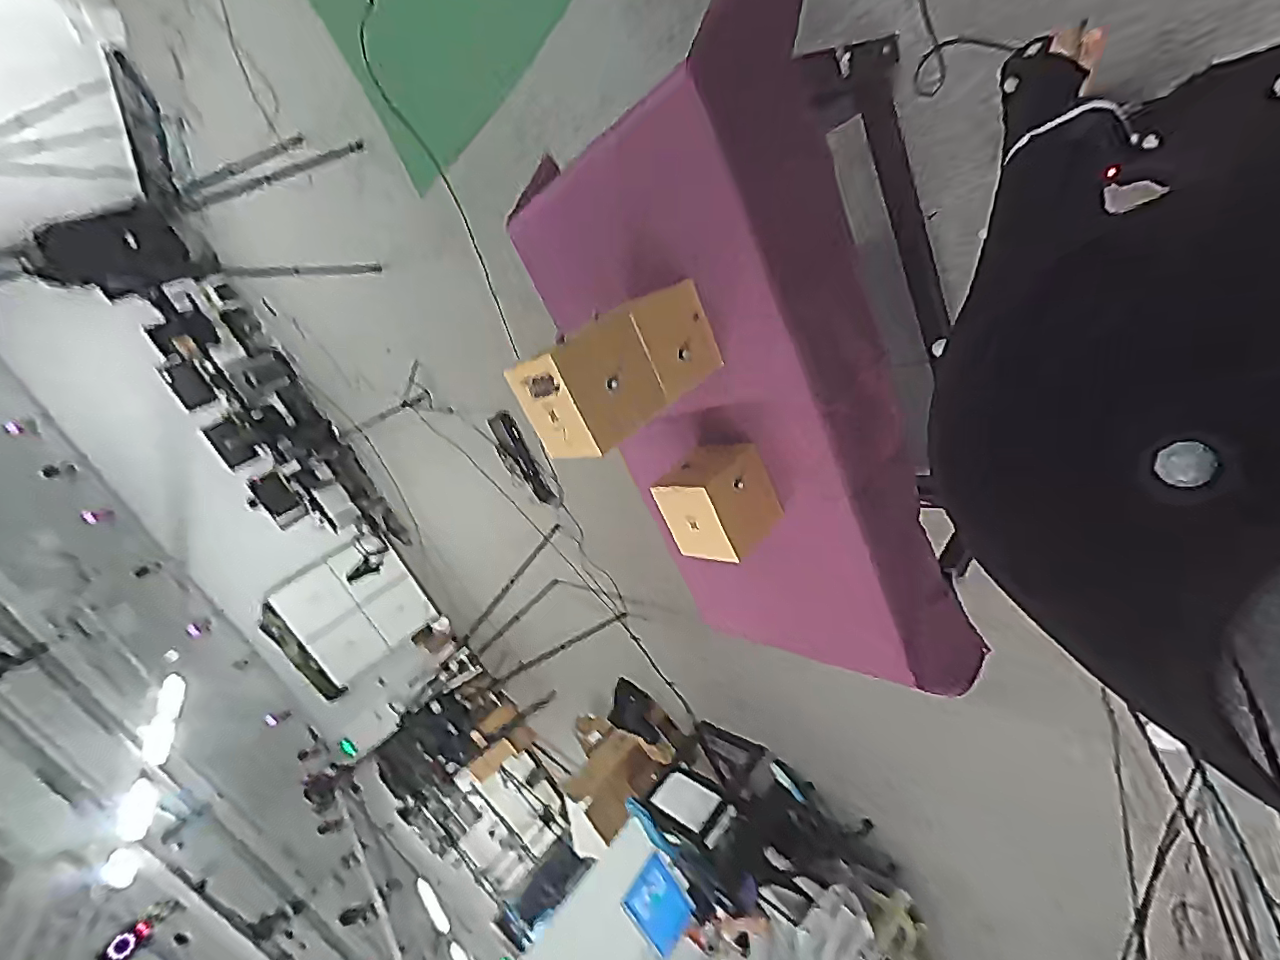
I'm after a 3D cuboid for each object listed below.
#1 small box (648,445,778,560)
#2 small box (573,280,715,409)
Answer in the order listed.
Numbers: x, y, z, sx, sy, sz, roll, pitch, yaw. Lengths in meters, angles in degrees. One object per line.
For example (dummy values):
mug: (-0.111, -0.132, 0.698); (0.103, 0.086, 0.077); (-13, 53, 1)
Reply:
small box: (0.153, 0.038, 1.107); (0.168, 0.176, 0.179); (0, 122, 52)
small box: (0.016, -0.248, 0.998); (0.179, 0.176, 0.168); (2, 123, 51)
